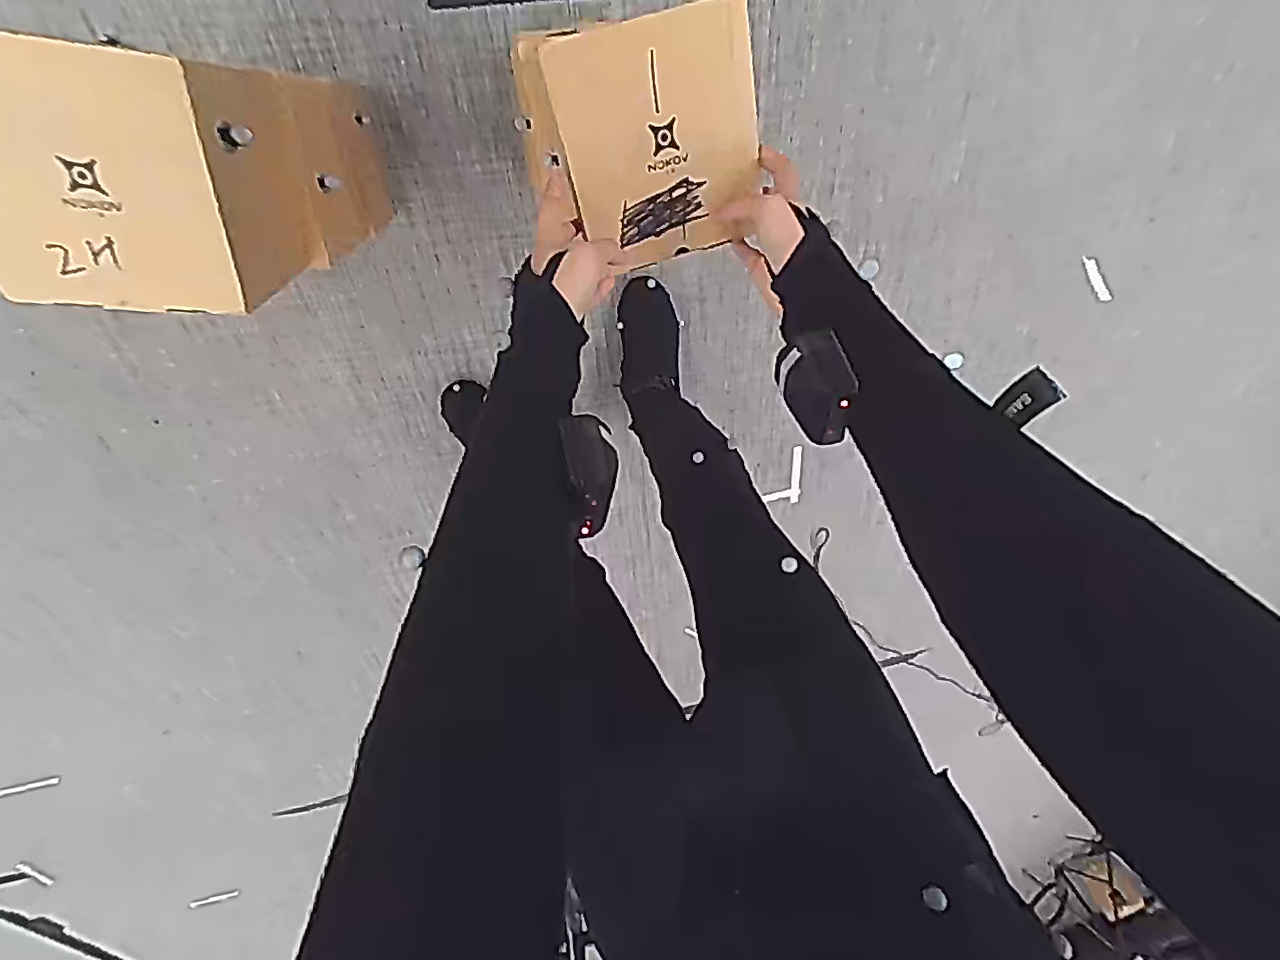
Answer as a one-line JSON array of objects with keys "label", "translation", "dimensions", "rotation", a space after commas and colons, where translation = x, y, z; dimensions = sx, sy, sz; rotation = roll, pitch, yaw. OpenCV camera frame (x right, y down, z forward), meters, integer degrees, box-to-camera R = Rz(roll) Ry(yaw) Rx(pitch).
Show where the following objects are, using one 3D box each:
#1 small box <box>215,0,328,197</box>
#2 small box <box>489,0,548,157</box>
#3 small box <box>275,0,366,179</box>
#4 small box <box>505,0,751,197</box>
[{"label": "small box", "translation": [-0.443, -0.394, 0.545], "dimensions": [0.168, 0.176, 0.179], "rotation": [-5, 126, -11]}, {"label": "small box", "translation": [-0.068, -0.468, 0.595], "dimensions": [0.168, 0.176, 0.179], "rotation": [-12, 126, -8]}, {"label": "small box", "translation": [-0.467, -0.483, 0.677], "dimensions": [0.168, 0.176, 0.179], "rotation": [-7, 126, -8]}, {"label": "small box", "translation": [-0.016, -0.373, 0.469], "dimensions": [0.168, 0.176, 0.179], "rotation": [-18, 128, -4]}]
